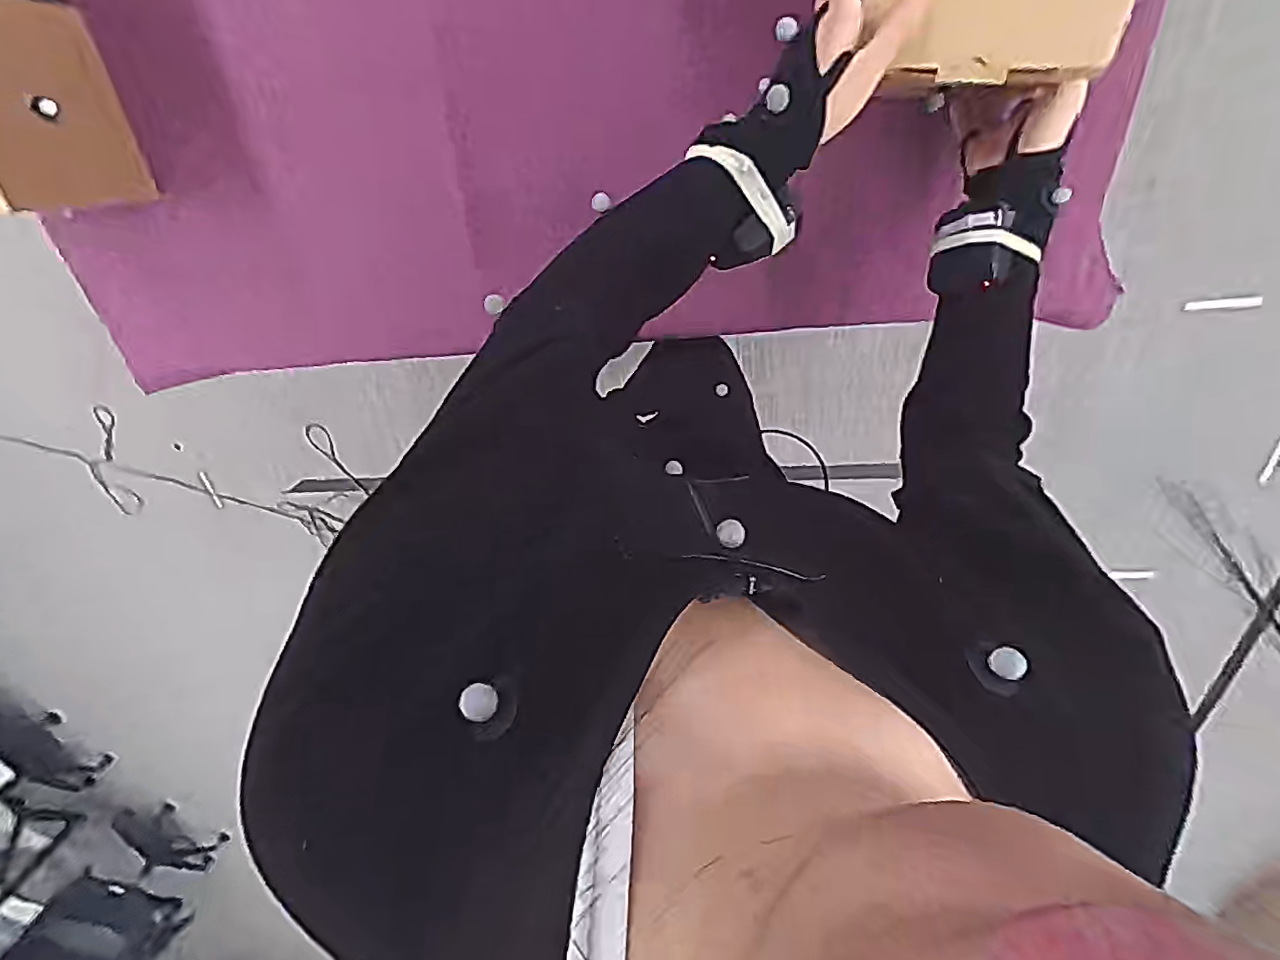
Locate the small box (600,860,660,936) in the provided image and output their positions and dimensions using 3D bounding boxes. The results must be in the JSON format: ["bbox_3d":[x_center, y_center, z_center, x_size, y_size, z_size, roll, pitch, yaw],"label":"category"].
[{"bbox_3d":[-0.030,1.462,1.898,0.168,0.176,0.179,-8,121,13],"label":"small box"}]

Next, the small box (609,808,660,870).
[{"bbox_3d":[-0.020,1.365,2.029,0.179,0.176,0.168,5,121,5],"label":"small box"}]
